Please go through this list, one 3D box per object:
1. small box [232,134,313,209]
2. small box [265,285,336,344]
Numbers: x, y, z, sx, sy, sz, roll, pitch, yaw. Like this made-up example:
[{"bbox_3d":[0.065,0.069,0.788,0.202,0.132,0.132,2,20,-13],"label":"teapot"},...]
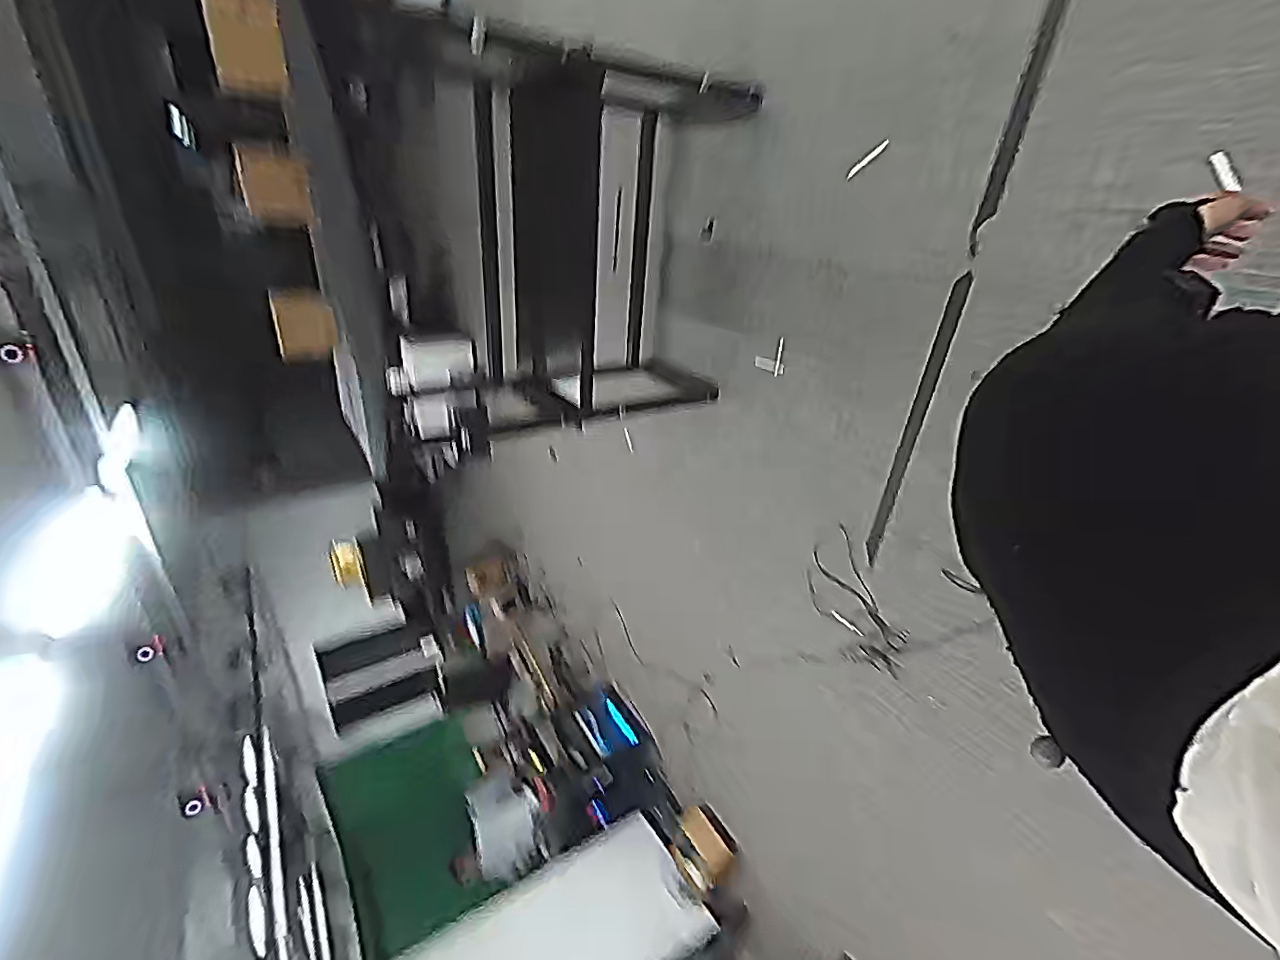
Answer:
[{"bbox_3d":[-1.103,-0.923,1.625,0.168,0.176,0.179,37,130,46],"label":"small box"},{"bbox_3d":[-1.128,-0.557,1.803,0.179,0.176,0.168,33,128,48],"label":"small box"}]
